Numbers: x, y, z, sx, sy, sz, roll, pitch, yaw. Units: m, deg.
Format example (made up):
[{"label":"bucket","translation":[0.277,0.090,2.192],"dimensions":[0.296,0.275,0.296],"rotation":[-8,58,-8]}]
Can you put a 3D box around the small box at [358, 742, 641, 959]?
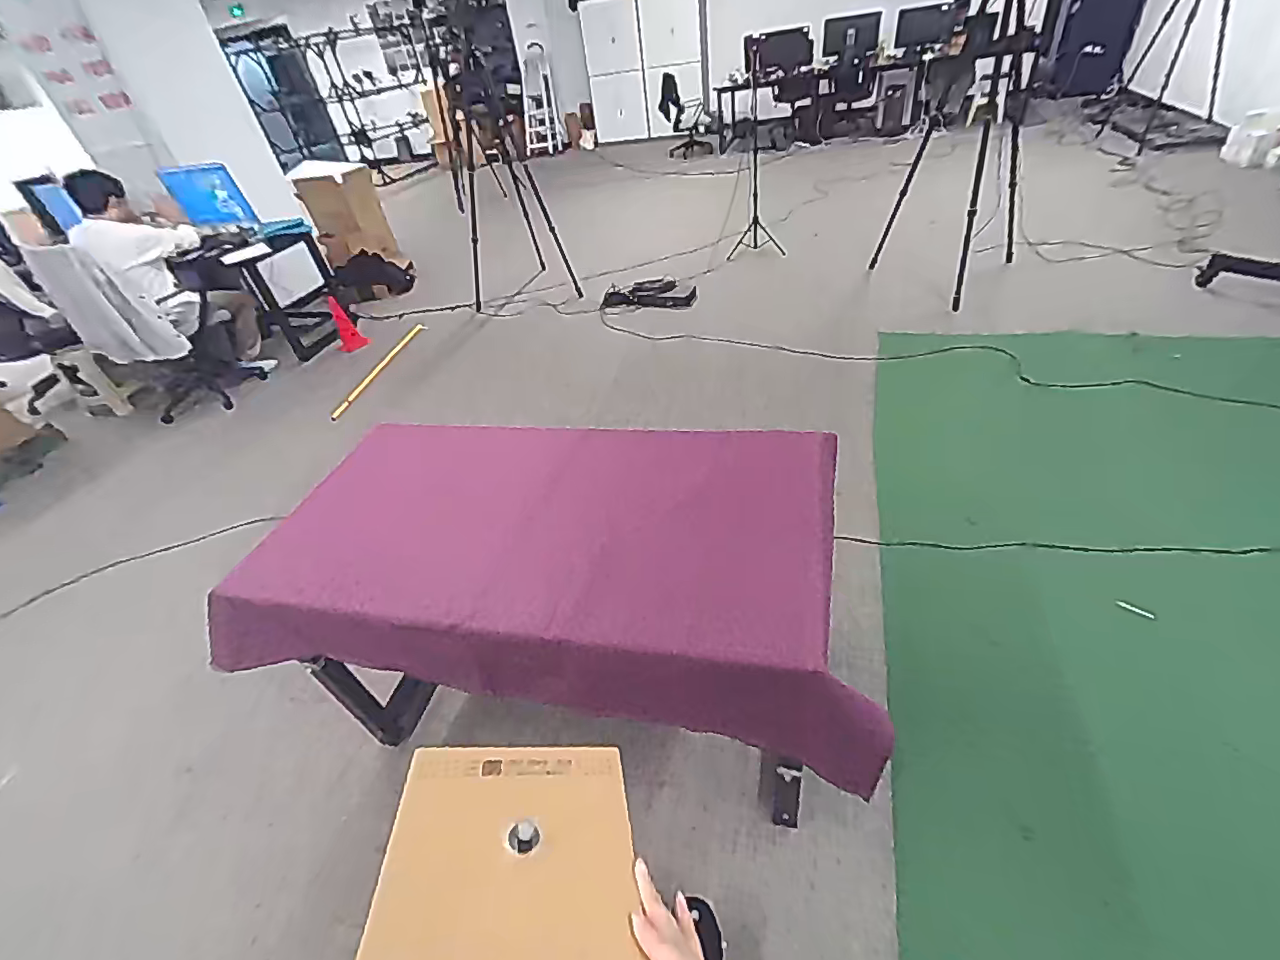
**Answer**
[{"label":"small box","translation":[-0.104,0.324,0.405],"dimensions":[0.168,0.179,0.176],"rotation":[7,20,-11]}]
